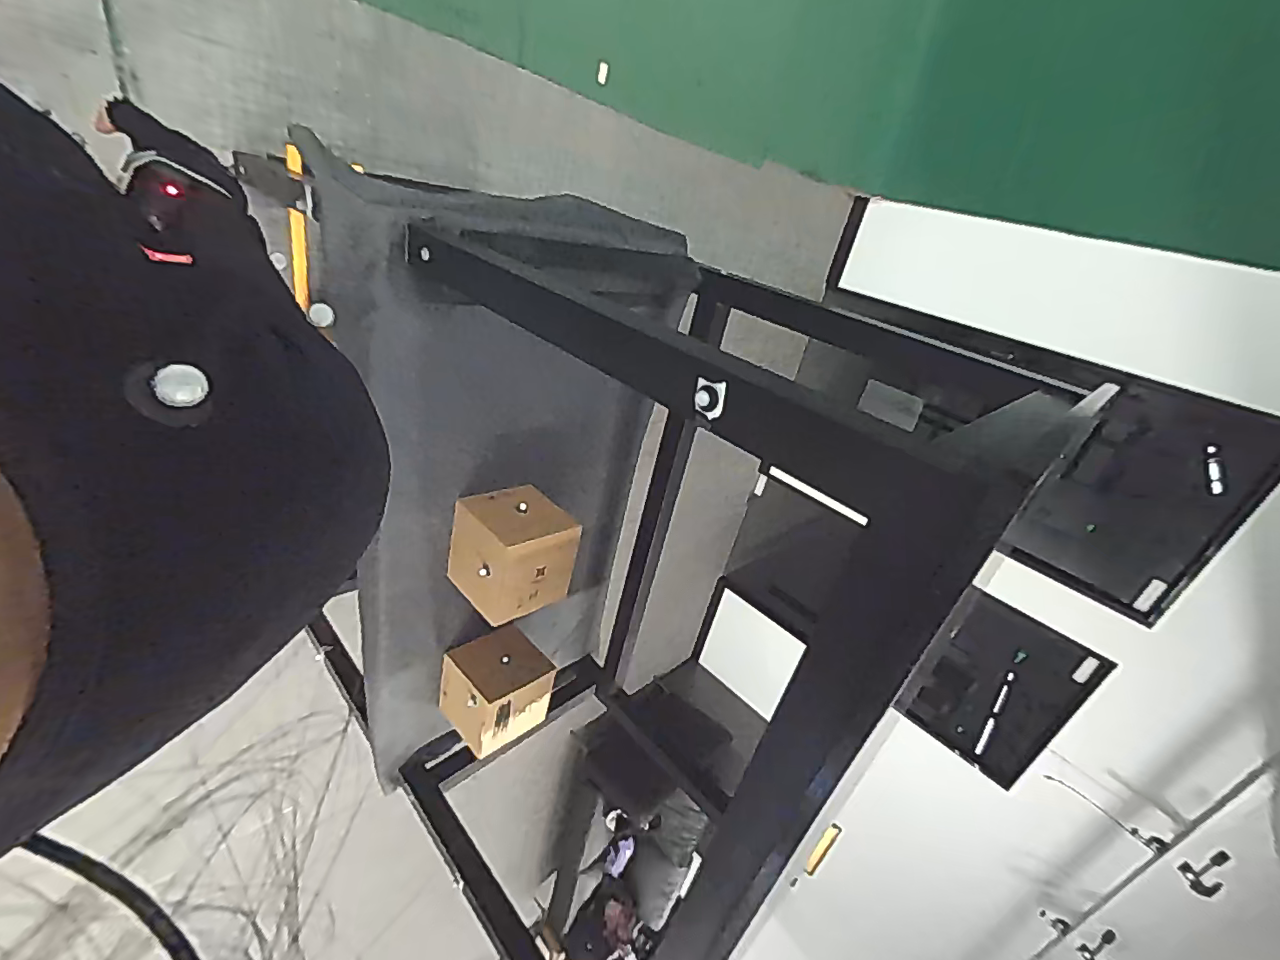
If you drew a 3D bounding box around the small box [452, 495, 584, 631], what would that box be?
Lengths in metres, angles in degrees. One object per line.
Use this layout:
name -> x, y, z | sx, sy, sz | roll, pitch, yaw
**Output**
small box -> -0.233, 0.142, 1.010 | 0.168, 0.176, 0.179 | -13, 126, -46
